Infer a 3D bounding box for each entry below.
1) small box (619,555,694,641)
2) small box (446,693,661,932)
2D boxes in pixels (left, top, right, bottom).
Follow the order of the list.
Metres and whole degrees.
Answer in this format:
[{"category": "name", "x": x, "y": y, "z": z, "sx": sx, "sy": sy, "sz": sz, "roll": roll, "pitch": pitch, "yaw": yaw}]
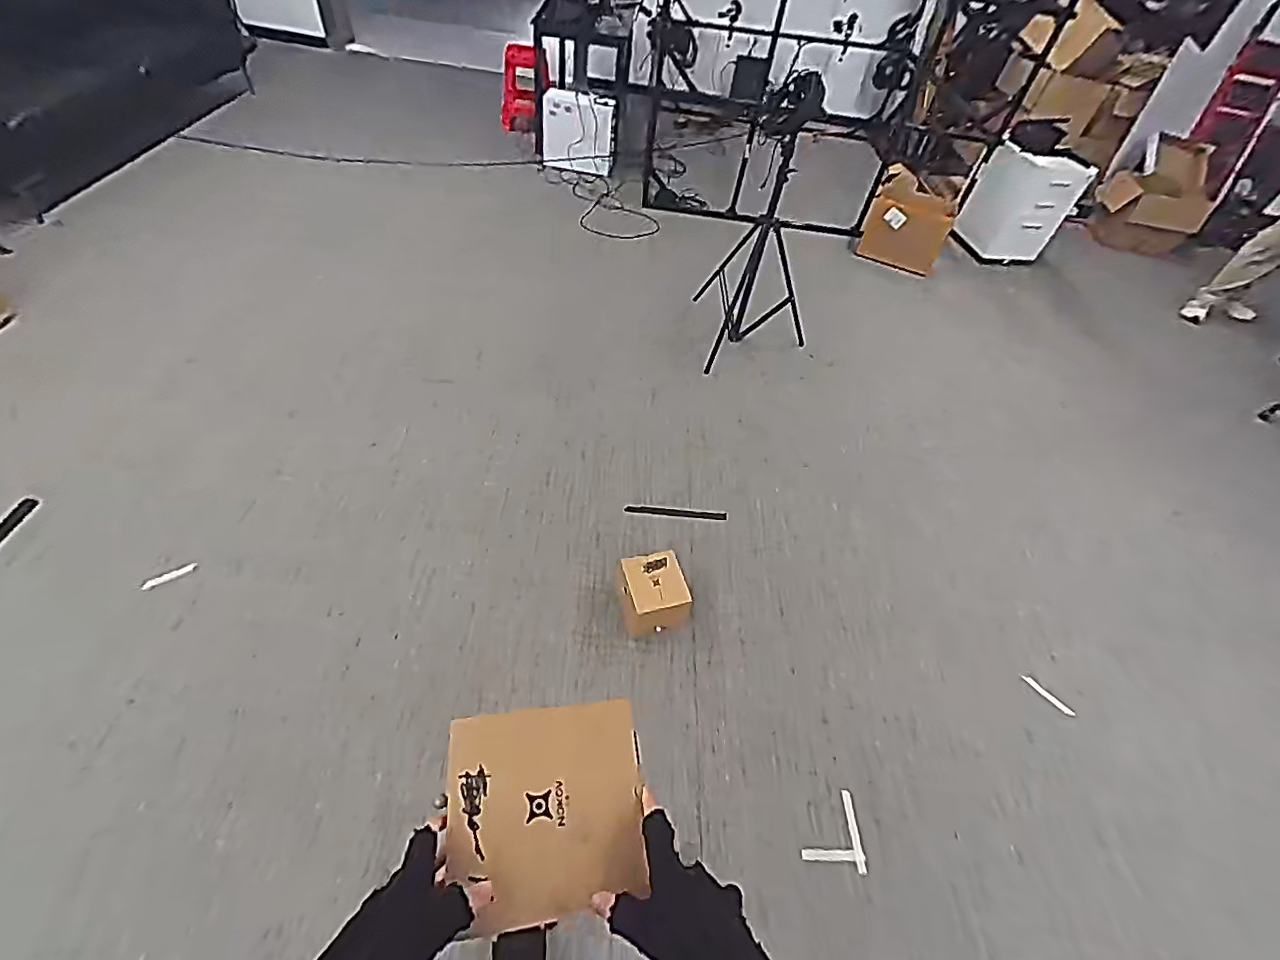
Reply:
[{"category": "small box", "x": 0.041, "y": 0.349, "z": 1.596, "sx": 0.168, "sy": 0.176, "sz": 0.179, "roll": -9, "pitch": 52, "yaw": -16}, {"category": "small box", "x": -0.091, "y": 0.323, "z": 0.543, "sx": 0.179, "sy": 0.176, "sz": 0.168, "roll": -1, "pitch": 56, "yaw": -13}]
